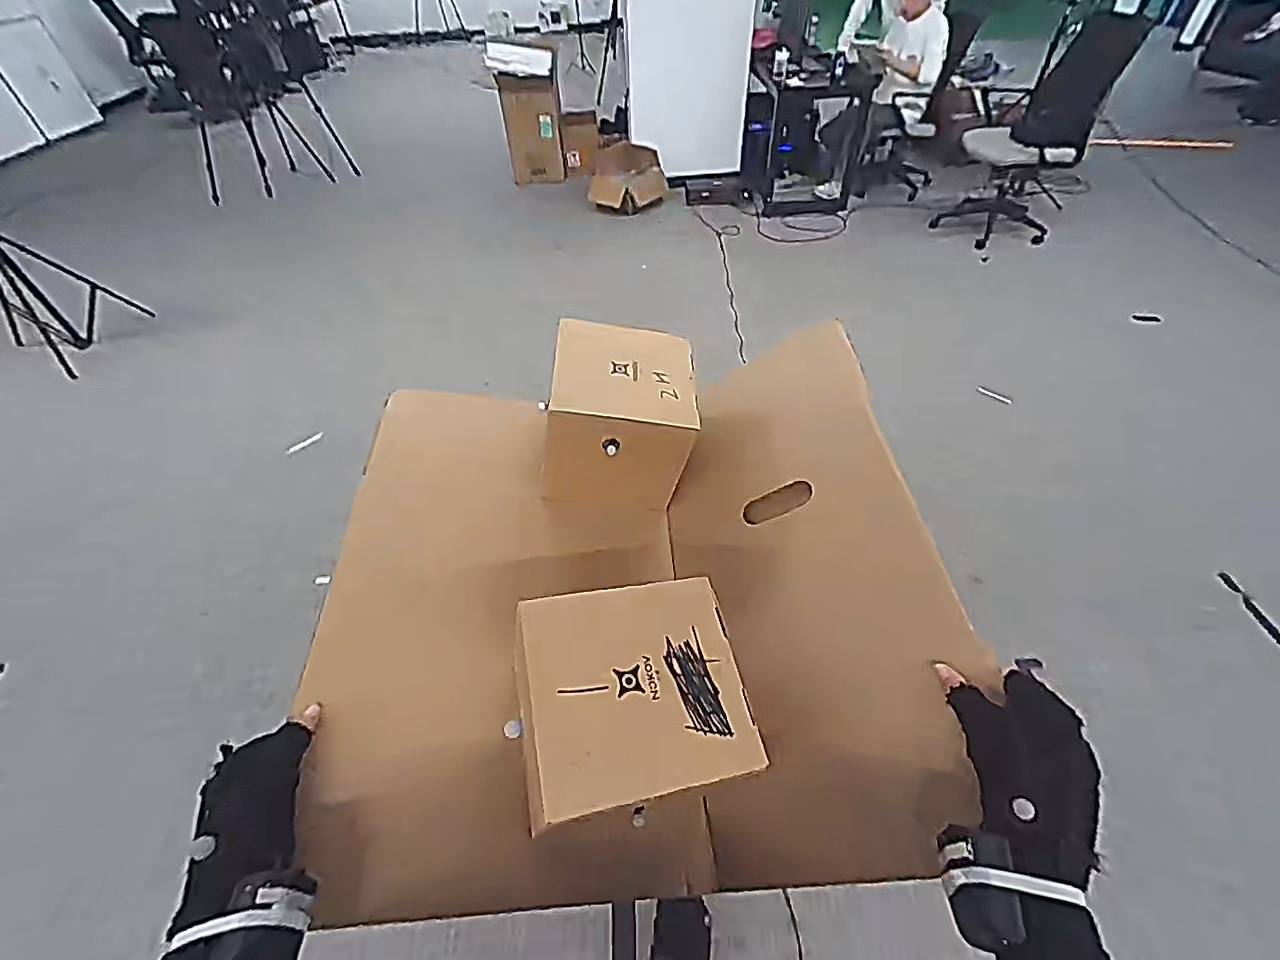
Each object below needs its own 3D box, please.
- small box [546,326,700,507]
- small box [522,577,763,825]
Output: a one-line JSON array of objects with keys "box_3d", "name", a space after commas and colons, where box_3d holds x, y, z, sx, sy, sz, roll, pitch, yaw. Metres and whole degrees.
[{"box_3d": [-0.029, -0.079, 0.731, 0.179, 0.176, 0.168, 8, 52, -9], "name": "small box"}, {"box_3d": [-0.015, 0.210, 0.513, 0.179, 0.176, 0.168, -4, 54, -17], "name": "small box"}]
